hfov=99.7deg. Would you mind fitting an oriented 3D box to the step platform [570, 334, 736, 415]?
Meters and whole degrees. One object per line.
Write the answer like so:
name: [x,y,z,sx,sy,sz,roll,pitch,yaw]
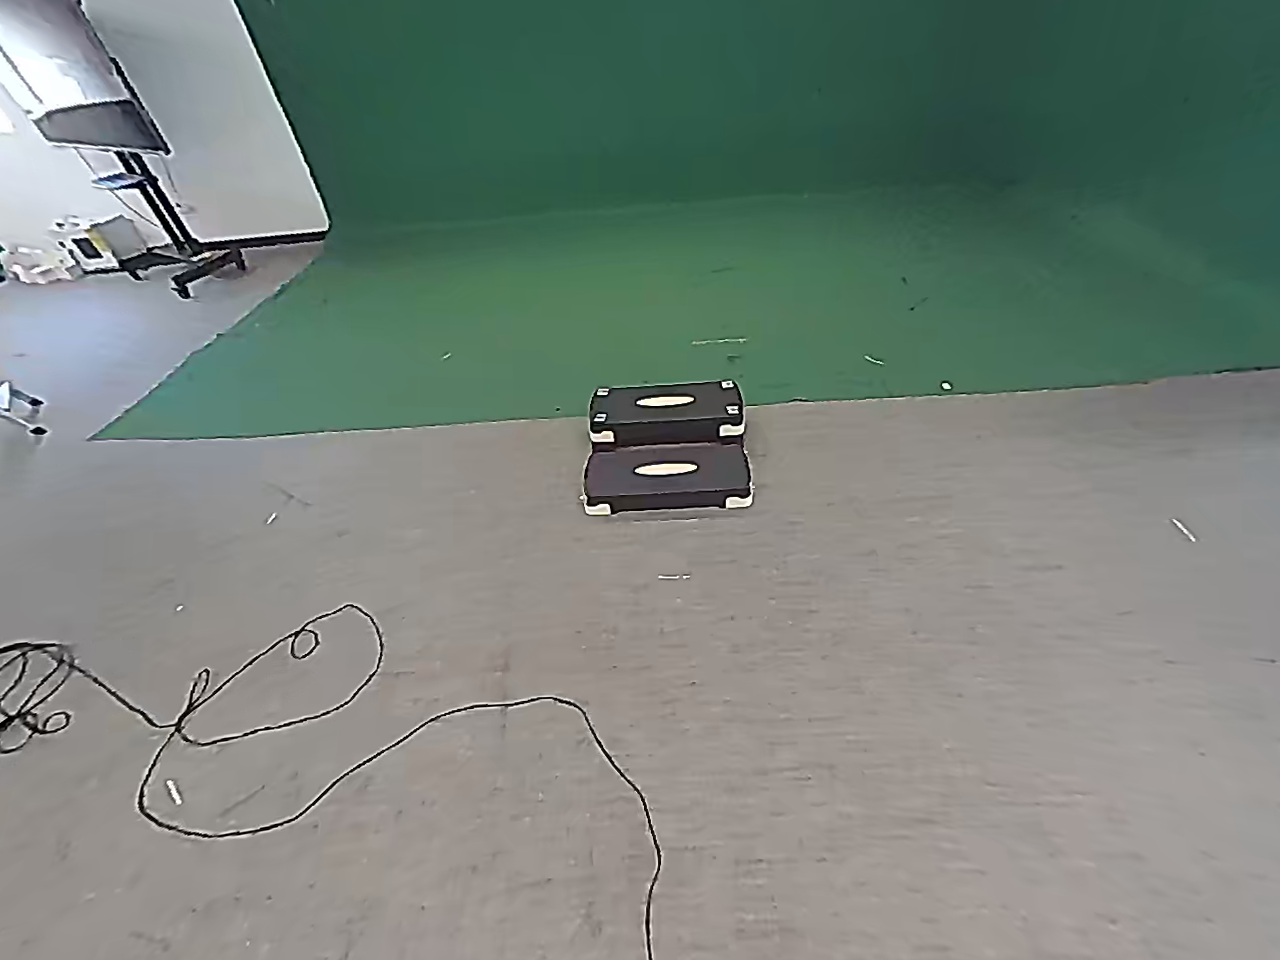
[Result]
step platform: [0.059,-0.448,2.294,0.684,0.204,0.286,-4,43,4]
